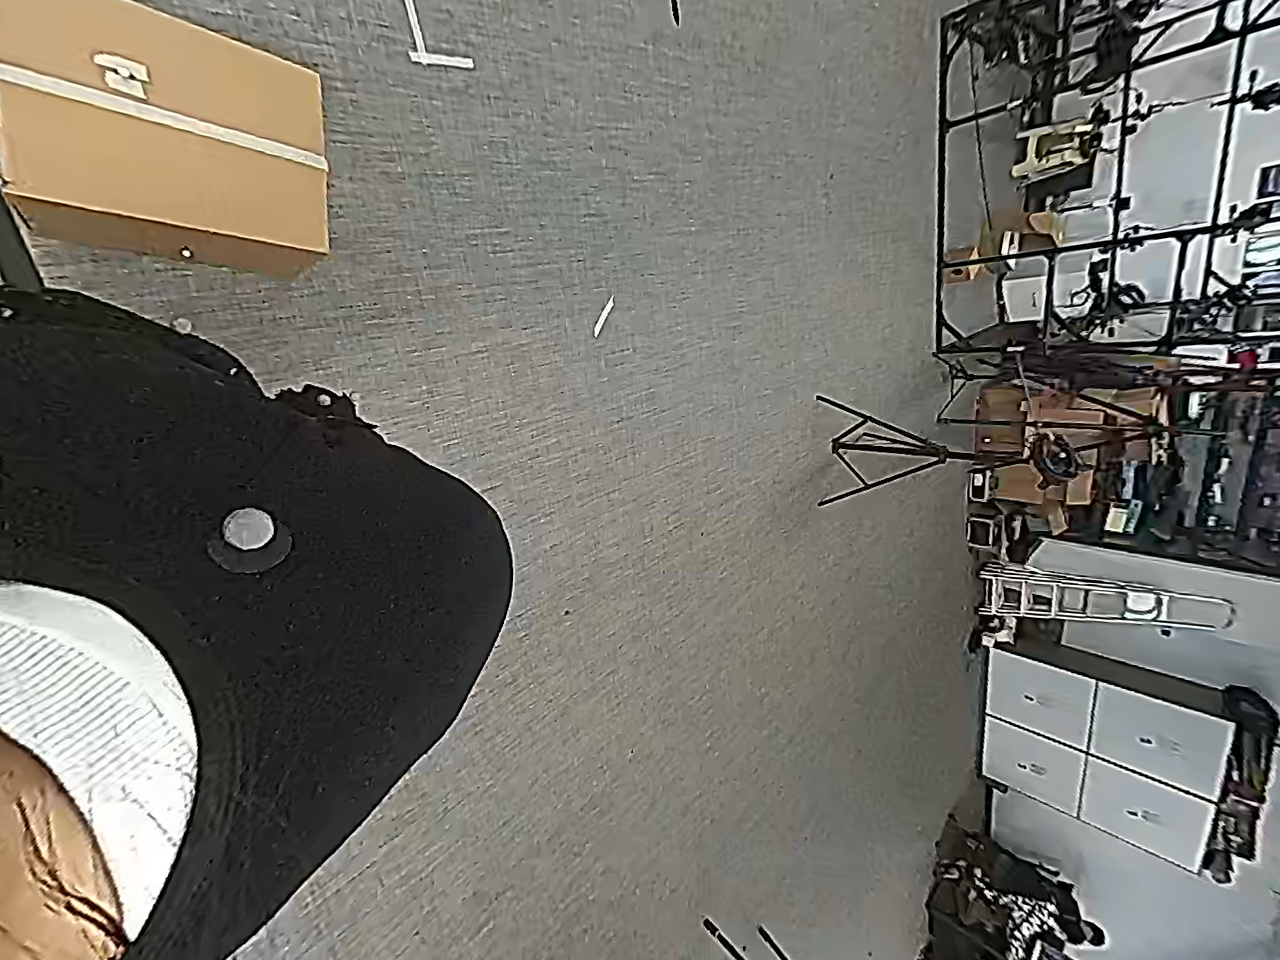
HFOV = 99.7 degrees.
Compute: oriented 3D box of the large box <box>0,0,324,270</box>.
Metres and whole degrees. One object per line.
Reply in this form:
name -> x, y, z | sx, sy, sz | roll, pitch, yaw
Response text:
large box -> -0.841, -0.589, 0.980 | 0.408, 0.320, 0.320 | -6, 100, -42
